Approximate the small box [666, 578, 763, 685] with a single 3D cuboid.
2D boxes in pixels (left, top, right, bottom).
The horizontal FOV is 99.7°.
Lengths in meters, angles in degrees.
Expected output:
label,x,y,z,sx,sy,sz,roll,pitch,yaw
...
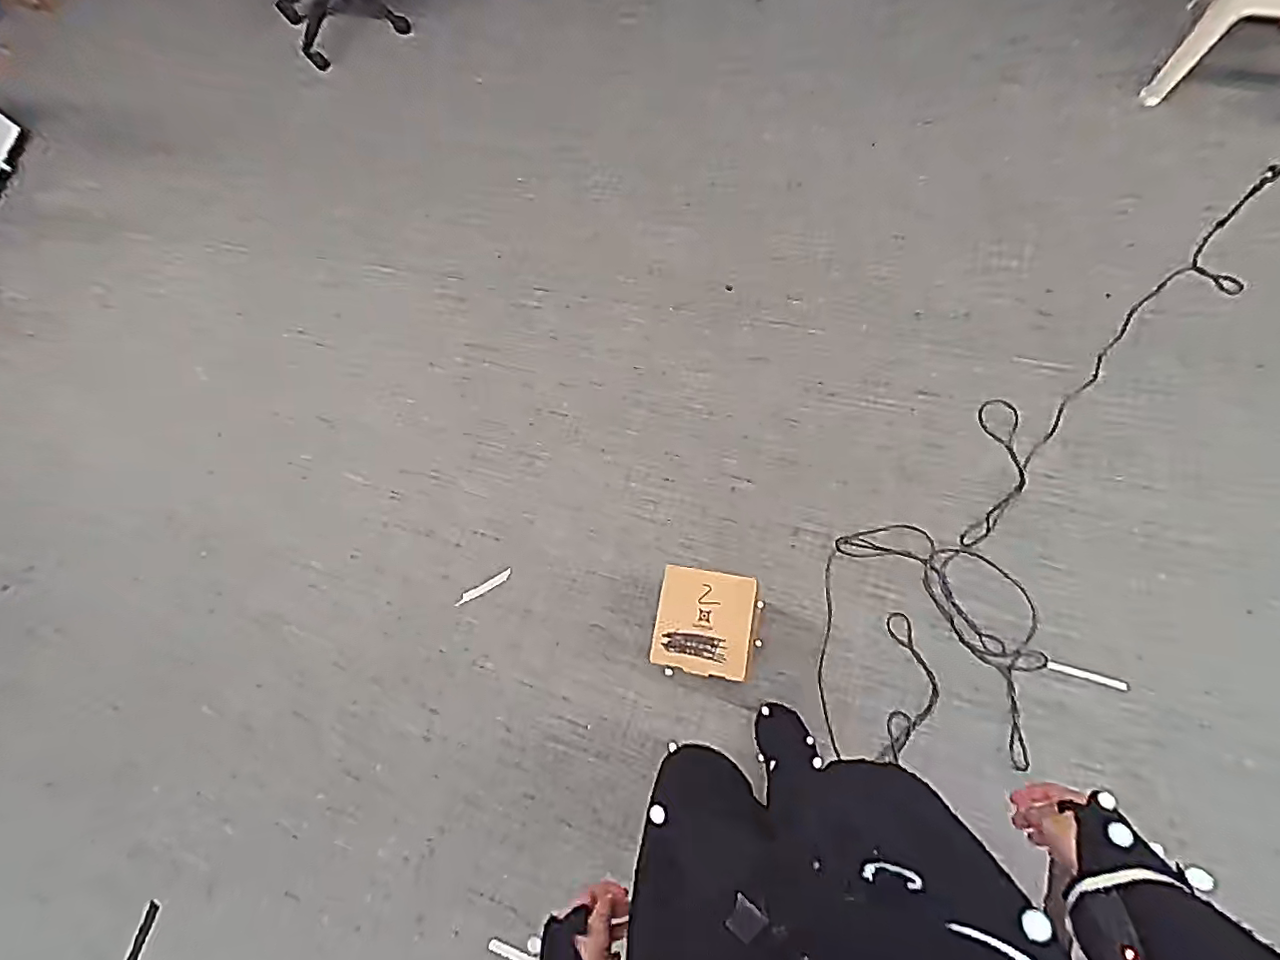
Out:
label,x,y,z,sx,sy,sz,roll,pitch,yaw
small box,0.169,0.323,1.160,0.168,0.176,0.179,12,76,16
